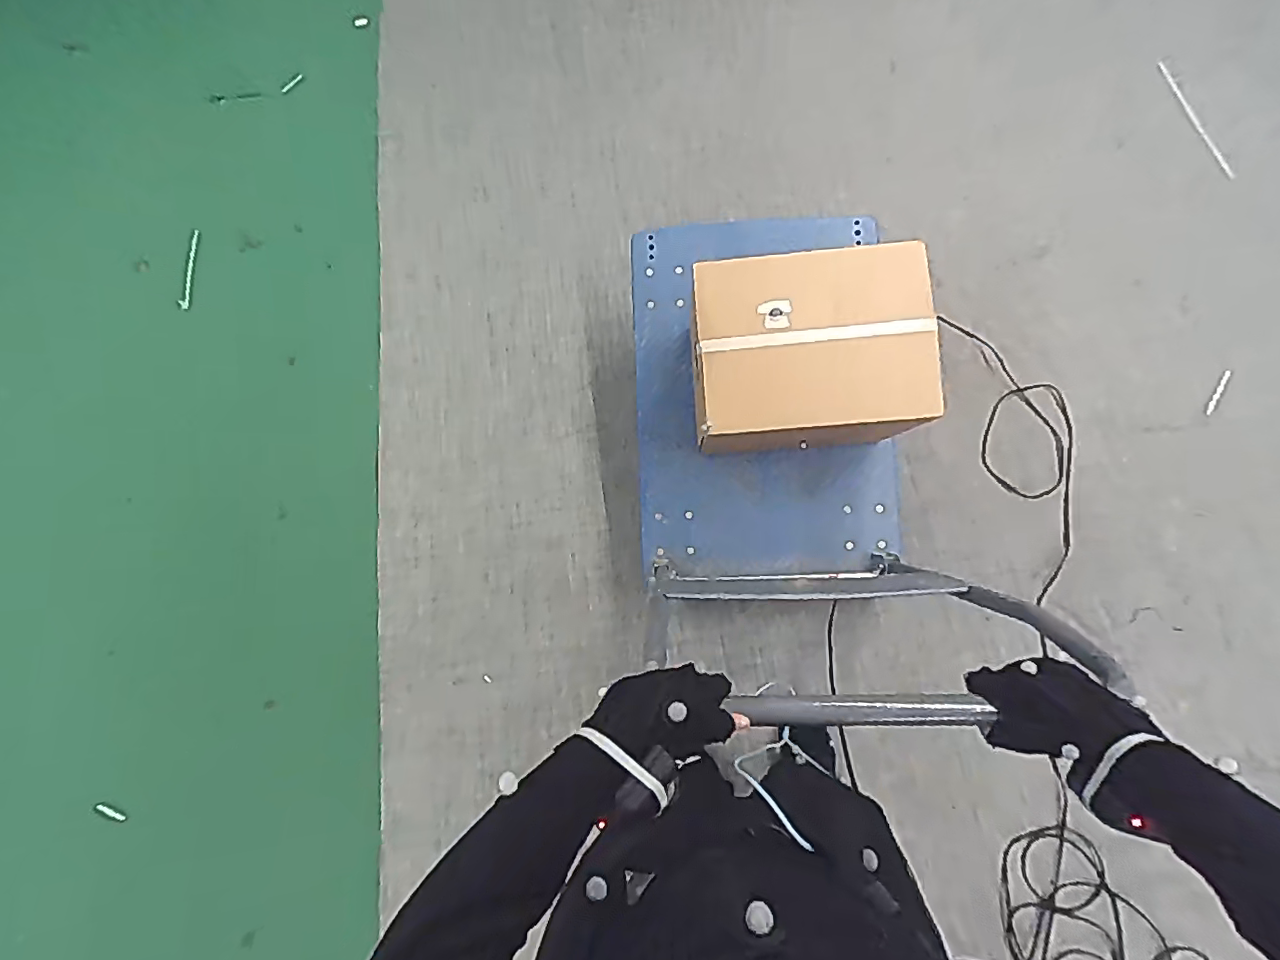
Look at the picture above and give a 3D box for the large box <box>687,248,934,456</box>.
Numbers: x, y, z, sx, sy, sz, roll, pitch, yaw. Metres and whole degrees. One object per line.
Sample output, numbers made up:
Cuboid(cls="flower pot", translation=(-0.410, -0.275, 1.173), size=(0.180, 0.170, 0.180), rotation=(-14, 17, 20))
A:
Cuboid(cls="large box", translation=(0.313, -0.230, 1.106), size=(0.408, 0.320, 0.320), rotation=(-5, 86, 5))
